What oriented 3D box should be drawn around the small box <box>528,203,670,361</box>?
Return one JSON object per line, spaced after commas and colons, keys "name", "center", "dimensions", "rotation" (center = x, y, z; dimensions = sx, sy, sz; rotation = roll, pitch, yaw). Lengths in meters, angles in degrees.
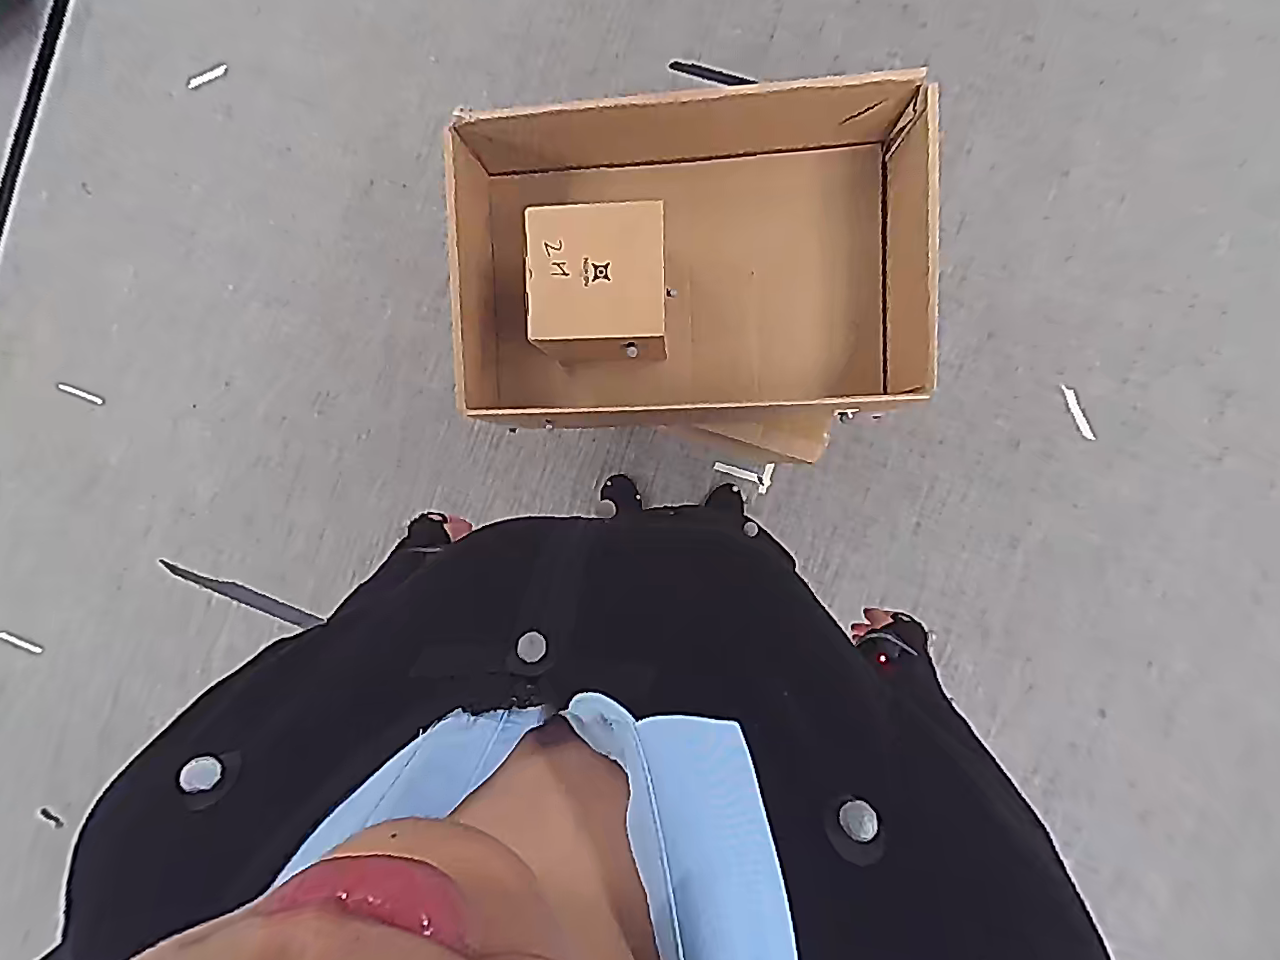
{"name": "small box", "center": [-0.047, -0.263, 0.751], "dimensions": [0.179, 0.176, 0.168], "rotation": [0, 93, 5]}
